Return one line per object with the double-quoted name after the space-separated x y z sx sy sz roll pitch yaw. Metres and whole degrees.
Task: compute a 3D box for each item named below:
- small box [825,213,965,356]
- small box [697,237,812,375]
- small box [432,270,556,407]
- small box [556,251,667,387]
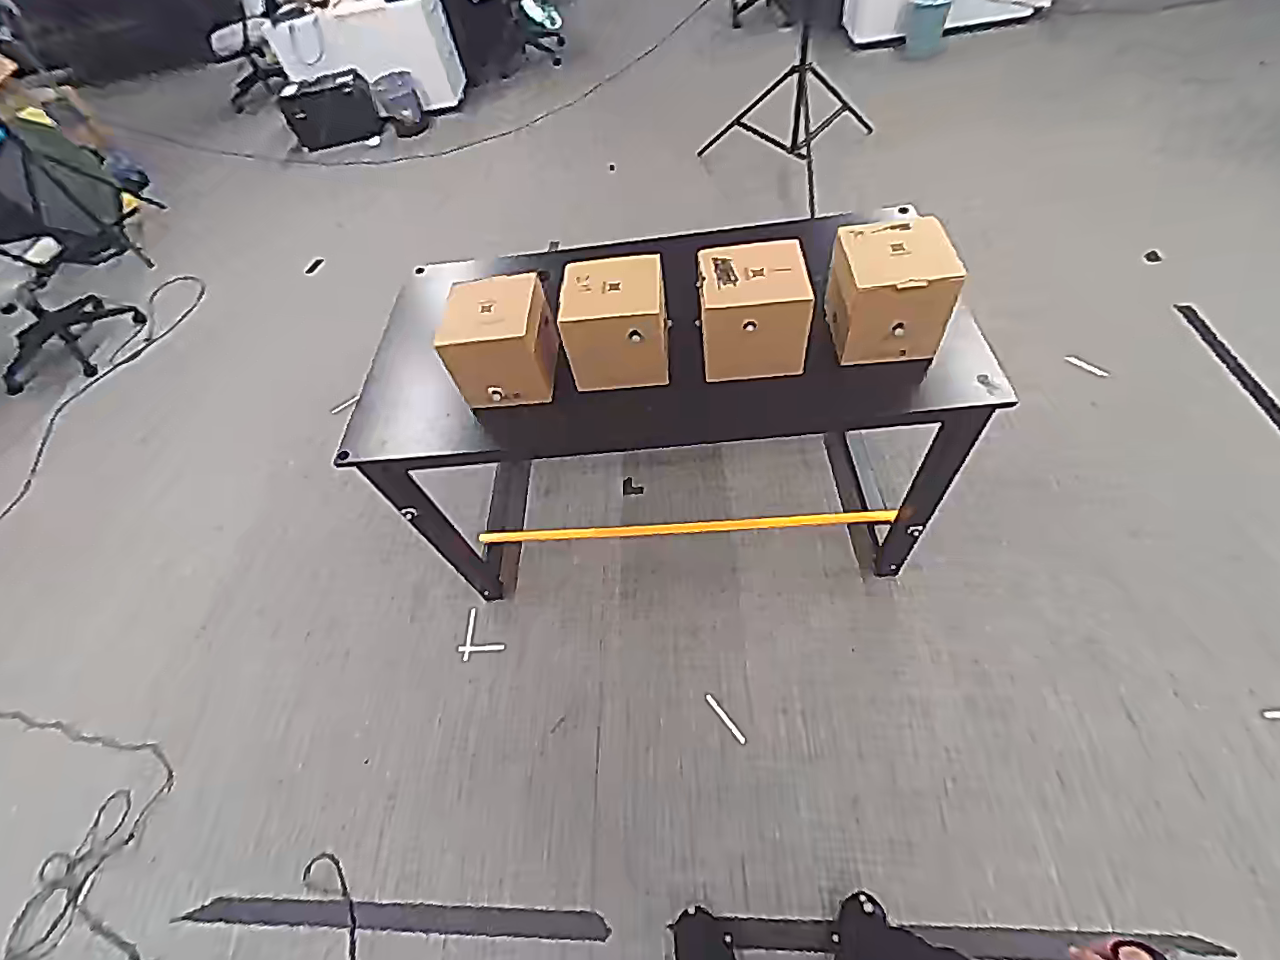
0.430 -0.333 0.946 0.168 0.176 0.179 -3 56 7 "small box"
0.196 -0.303 0.966 0.179 0.176 0.168 -3 56 6 "small box"
-0.260 -0.261 1.012 0.168 0.176 0.179 -6 56 7 "small box"
-0.042 -0.291 0.995 0.179 0.176 0.168 -4 55 7 "small box"
